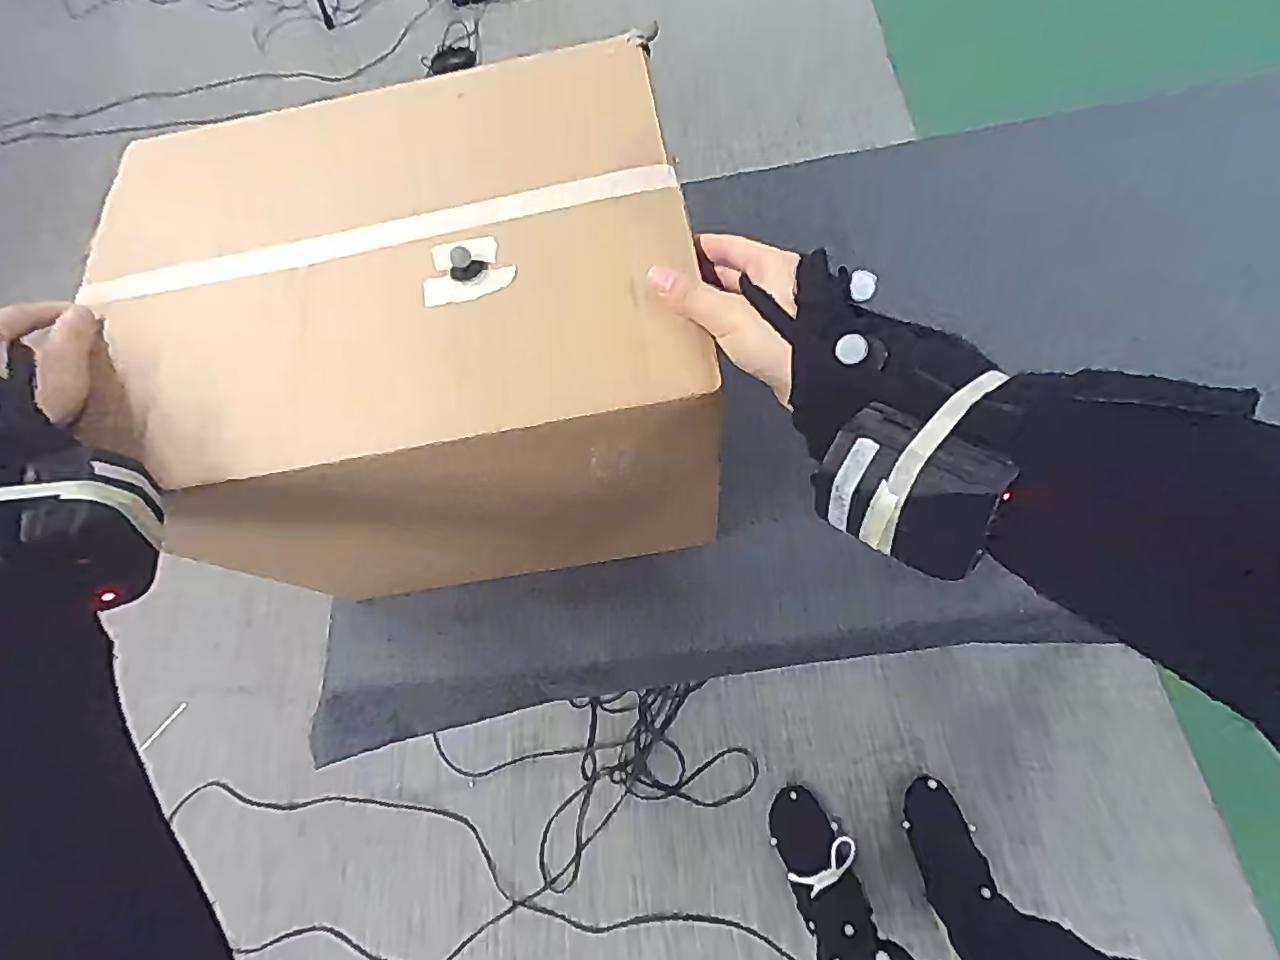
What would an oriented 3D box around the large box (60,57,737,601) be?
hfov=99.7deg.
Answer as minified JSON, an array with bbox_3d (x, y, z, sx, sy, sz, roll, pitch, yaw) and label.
[{"bbox_3d":[-0.149,-0.097,0.499,0.408,0.320,0.320,-10,68,2],"label":"large box"}]
